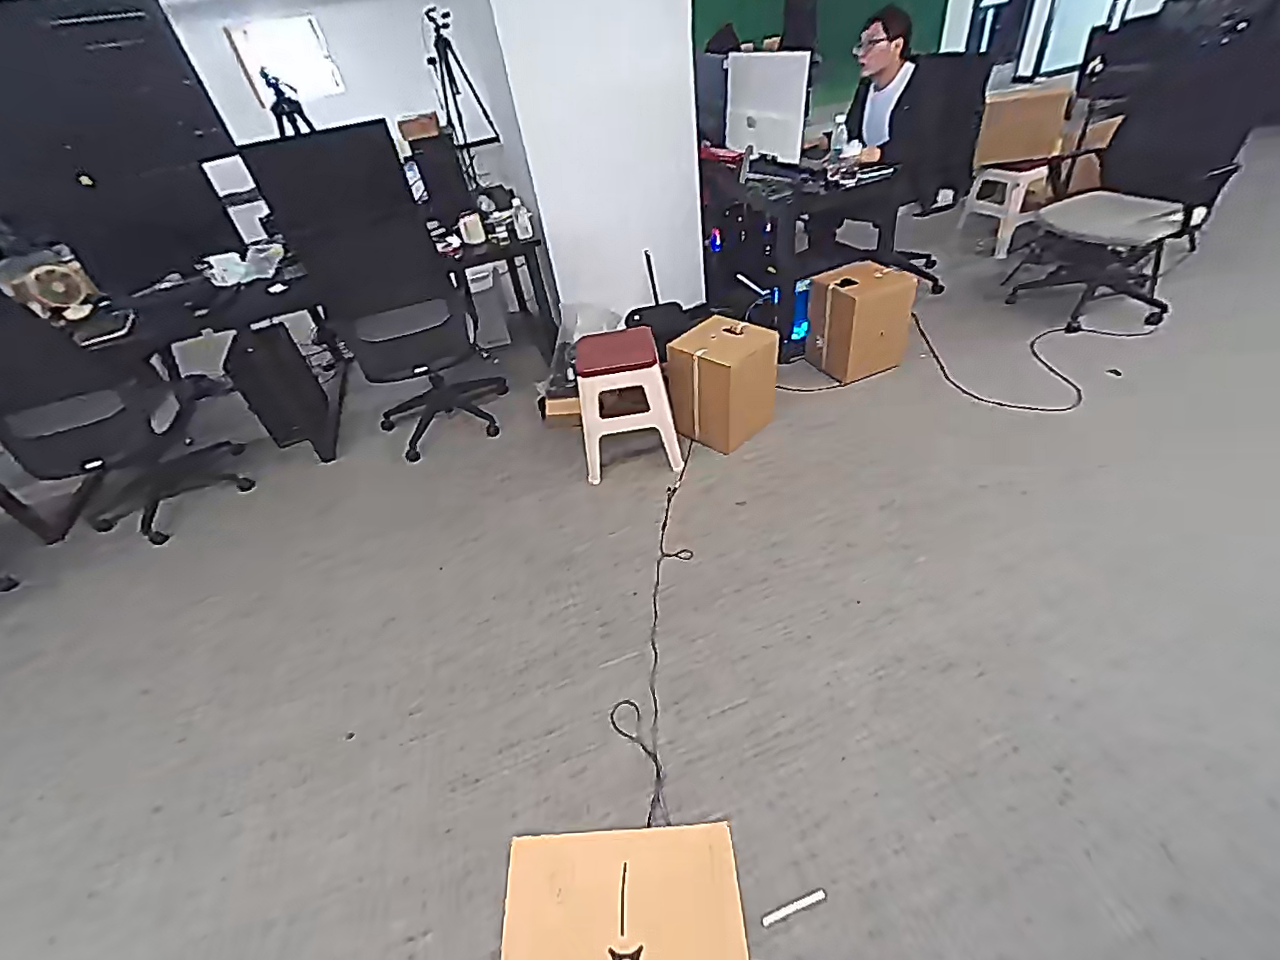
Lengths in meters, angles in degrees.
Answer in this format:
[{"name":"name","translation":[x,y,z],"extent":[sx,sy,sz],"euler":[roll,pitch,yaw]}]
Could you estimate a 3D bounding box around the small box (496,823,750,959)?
[{"name":"small box","translation":[-0.010,0.371,0.393],"extent":[0.168,0.176,0.179],"euler":[0,44,-1]}]
